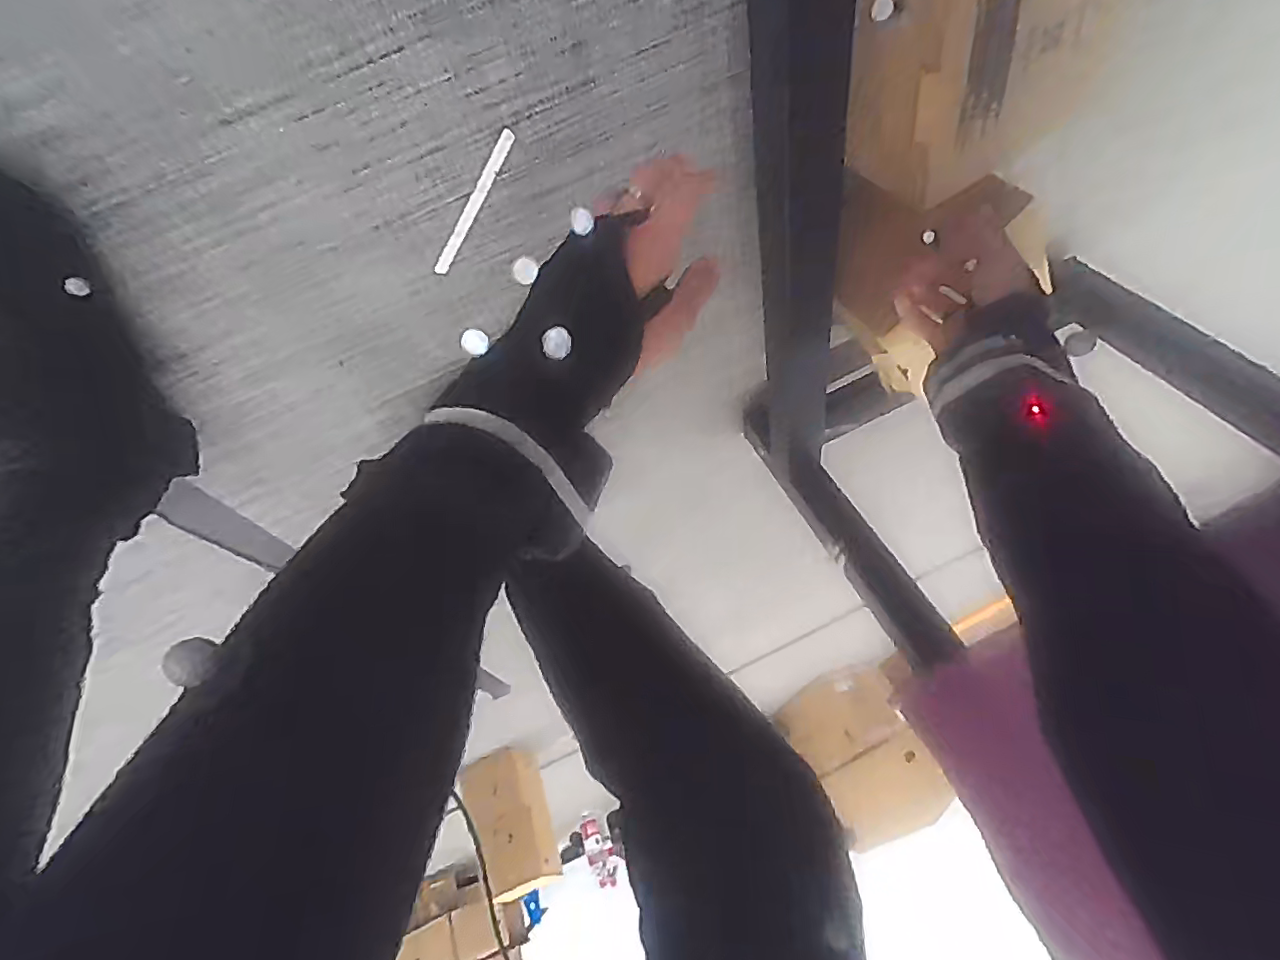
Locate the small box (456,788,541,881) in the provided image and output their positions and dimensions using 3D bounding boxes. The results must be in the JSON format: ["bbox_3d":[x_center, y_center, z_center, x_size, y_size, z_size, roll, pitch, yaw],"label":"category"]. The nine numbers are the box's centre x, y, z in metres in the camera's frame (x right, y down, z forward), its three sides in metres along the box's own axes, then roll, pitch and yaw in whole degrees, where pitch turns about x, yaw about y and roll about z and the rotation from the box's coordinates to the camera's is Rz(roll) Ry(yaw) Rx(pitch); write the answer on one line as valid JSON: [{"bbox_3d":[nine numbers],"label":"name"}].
[{"bbox_3d":[-0.393,0.980,1.503,0.168,0.176,0.179,-22,145,-5],"label":"small box"}]

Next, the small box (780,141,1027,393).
[{"bbox_3d":[0.297,-0.241,0.622,0.179,0.176,0.168,-42,143,20],"label":"small box"}]

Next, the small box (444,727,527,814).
[{"bbox_3d":[-0.457,0.853,1.585,0.179,0.176,0.168,-26,146,-1],"label":"small box"}]
